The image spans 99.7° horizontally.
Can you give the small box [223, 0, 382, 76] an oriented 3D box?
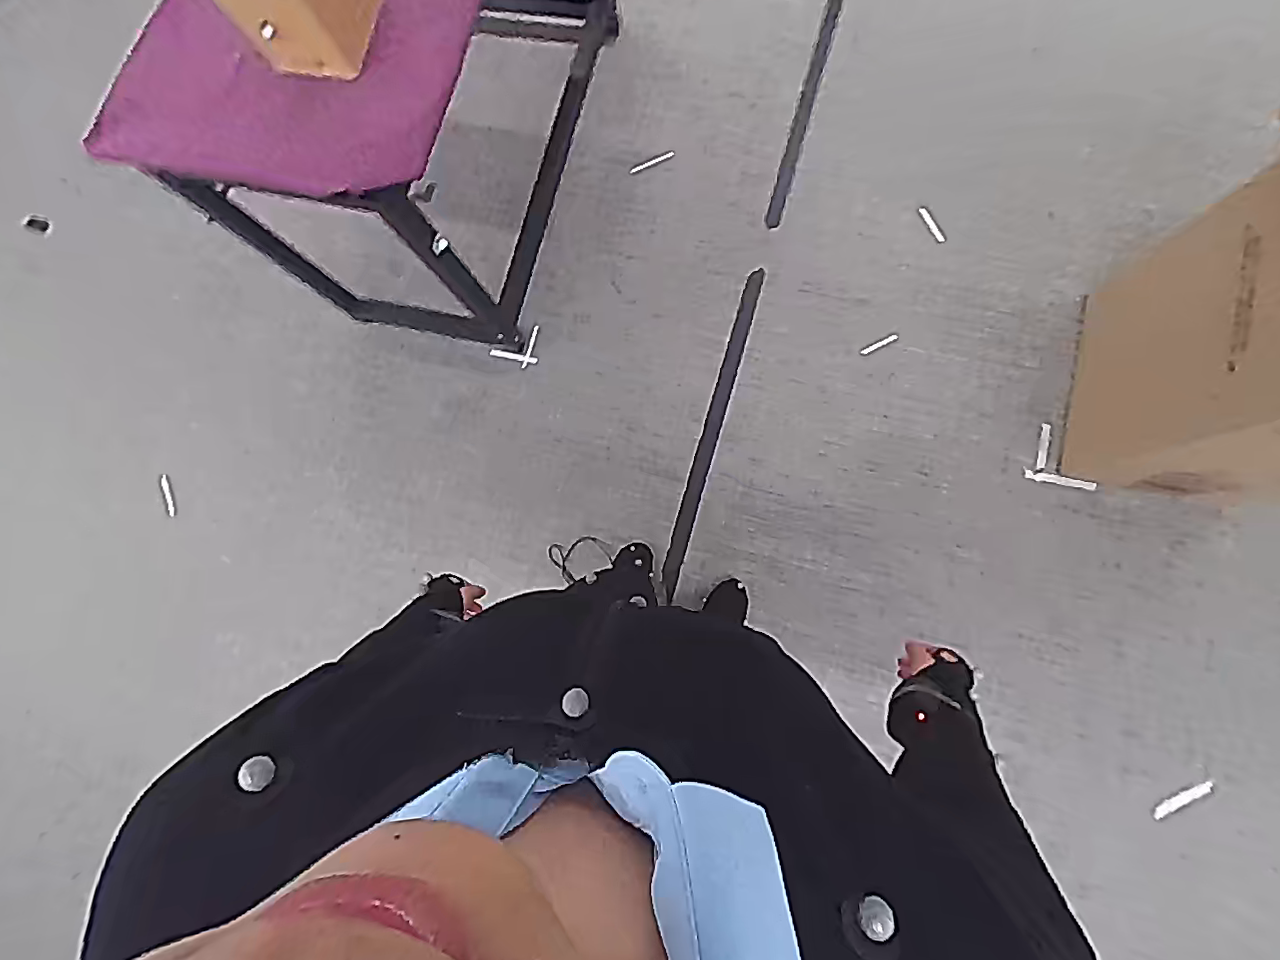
[{"bbox_3d":[-0.577,-0.840,0.926,0.168,0.176,0.179,11,82,8],"label":"small box"}]
